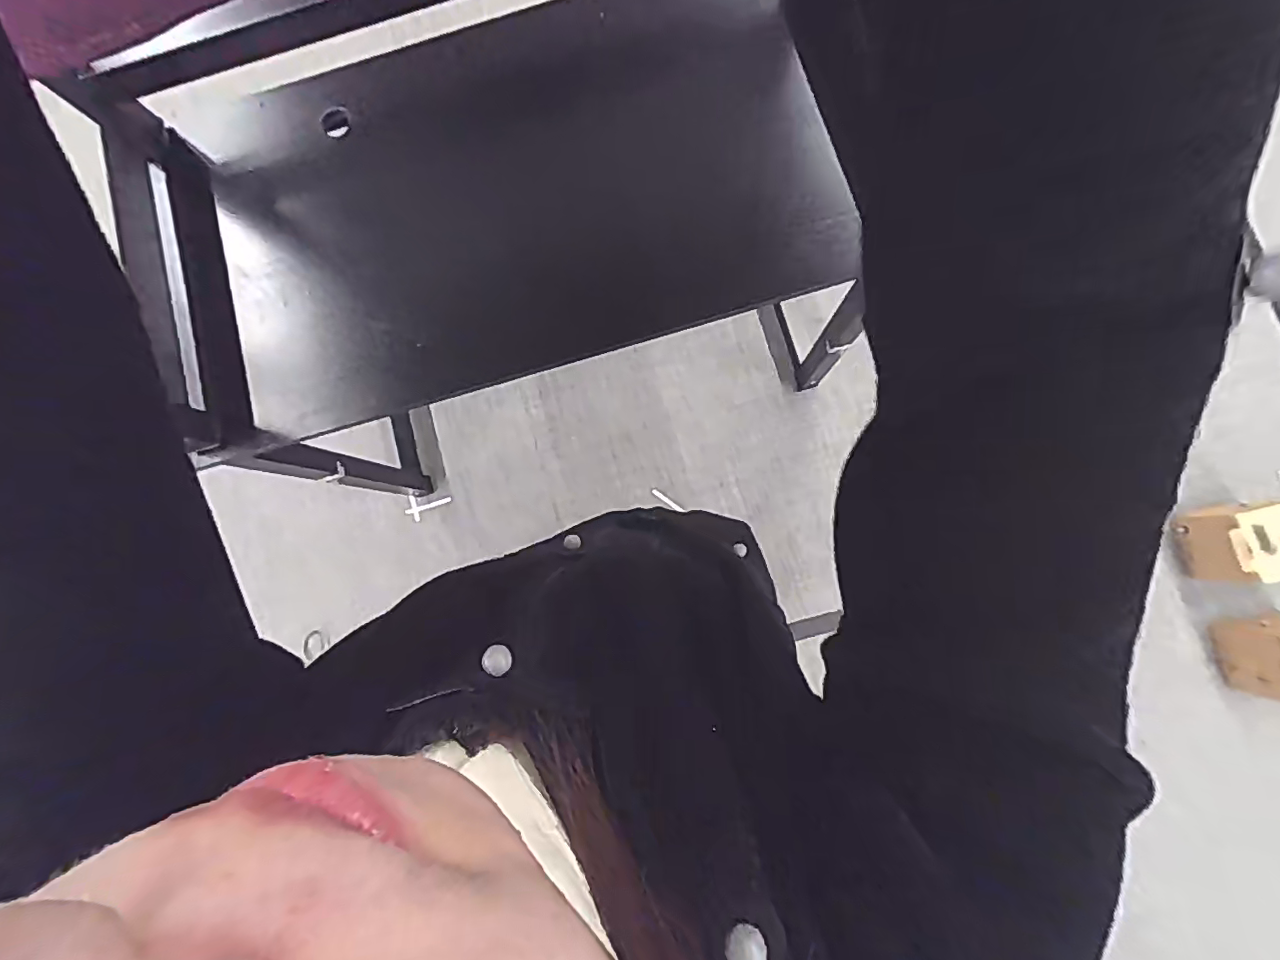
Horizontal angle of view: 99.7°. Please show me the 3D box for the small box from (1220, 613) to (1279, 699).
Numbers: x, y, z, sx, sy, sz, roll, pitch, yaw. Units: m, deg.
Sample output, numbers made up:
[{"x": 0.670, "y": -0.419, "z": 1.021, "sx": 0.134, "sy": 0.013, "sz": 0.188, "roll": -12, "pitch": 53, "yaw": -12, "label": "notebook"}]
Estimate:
[{"x": 1.539, "y": 0.417, "z": 1.274, "sx": 0.179, "sy": 0.176, "sz": 0.168, "roll": -11, "pitch": 83, "yaw": 2, "label": "small box"}]

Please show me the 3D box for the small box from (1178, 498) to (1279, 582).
[{"x": 1.471, "y": 0.145, "z": 1.308, "sx": 0.179, "sy": 0.176, "sz": 0.168, "roll": -14, "pitch": 83, "yaw": 2, "label": "small box"}]
